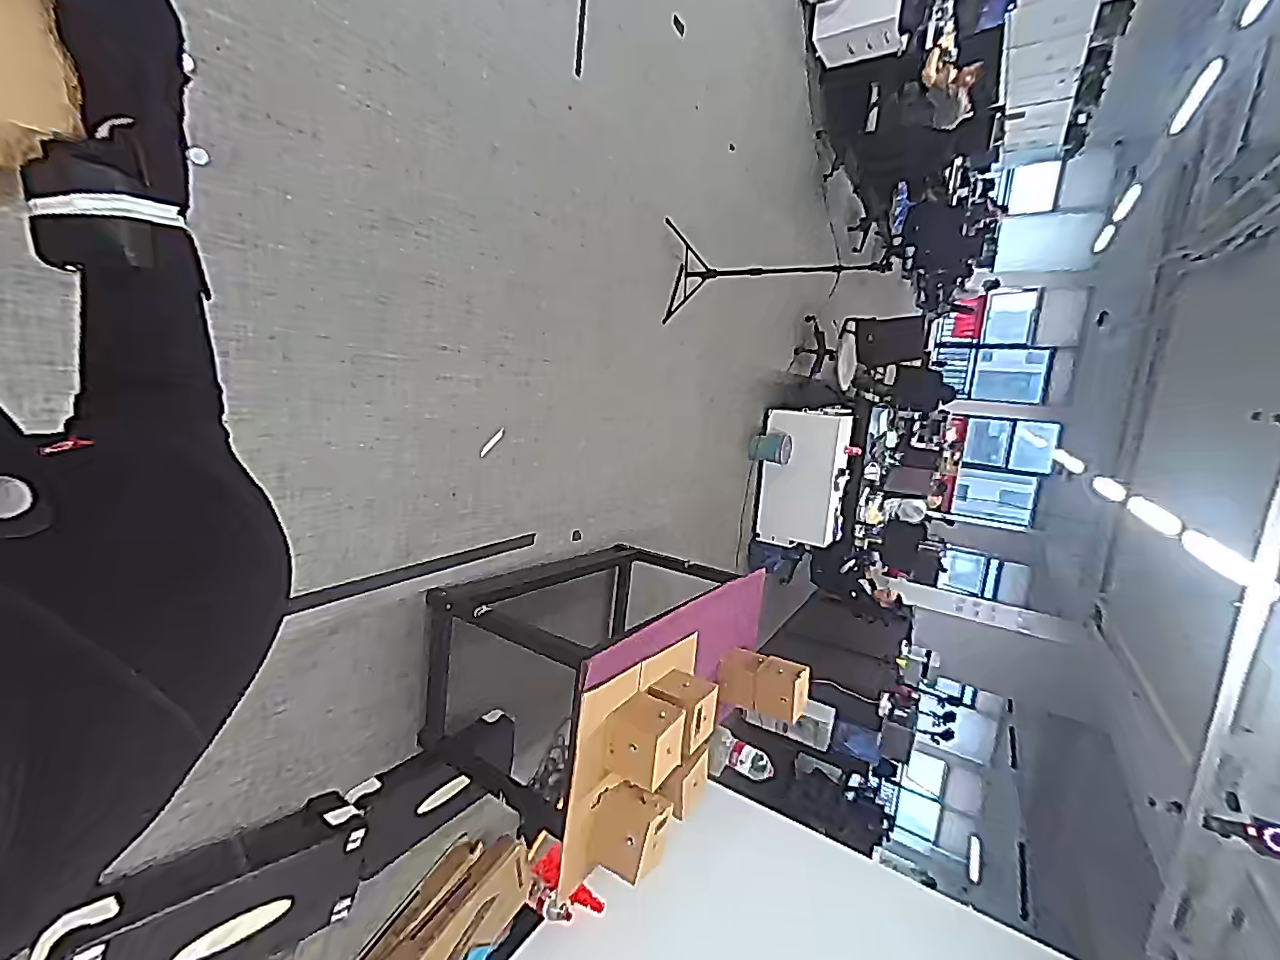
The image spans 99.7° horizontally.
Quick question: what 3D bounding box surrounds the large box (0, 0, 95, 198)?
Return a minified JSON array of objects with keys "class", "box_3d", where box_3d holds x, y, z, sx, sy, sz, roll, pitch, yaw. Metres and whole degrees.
[{"class":"large box","box_3d":[-0.609,-0.346,0.252,0.408,0.320,0.320,-20,119,-57]}]
